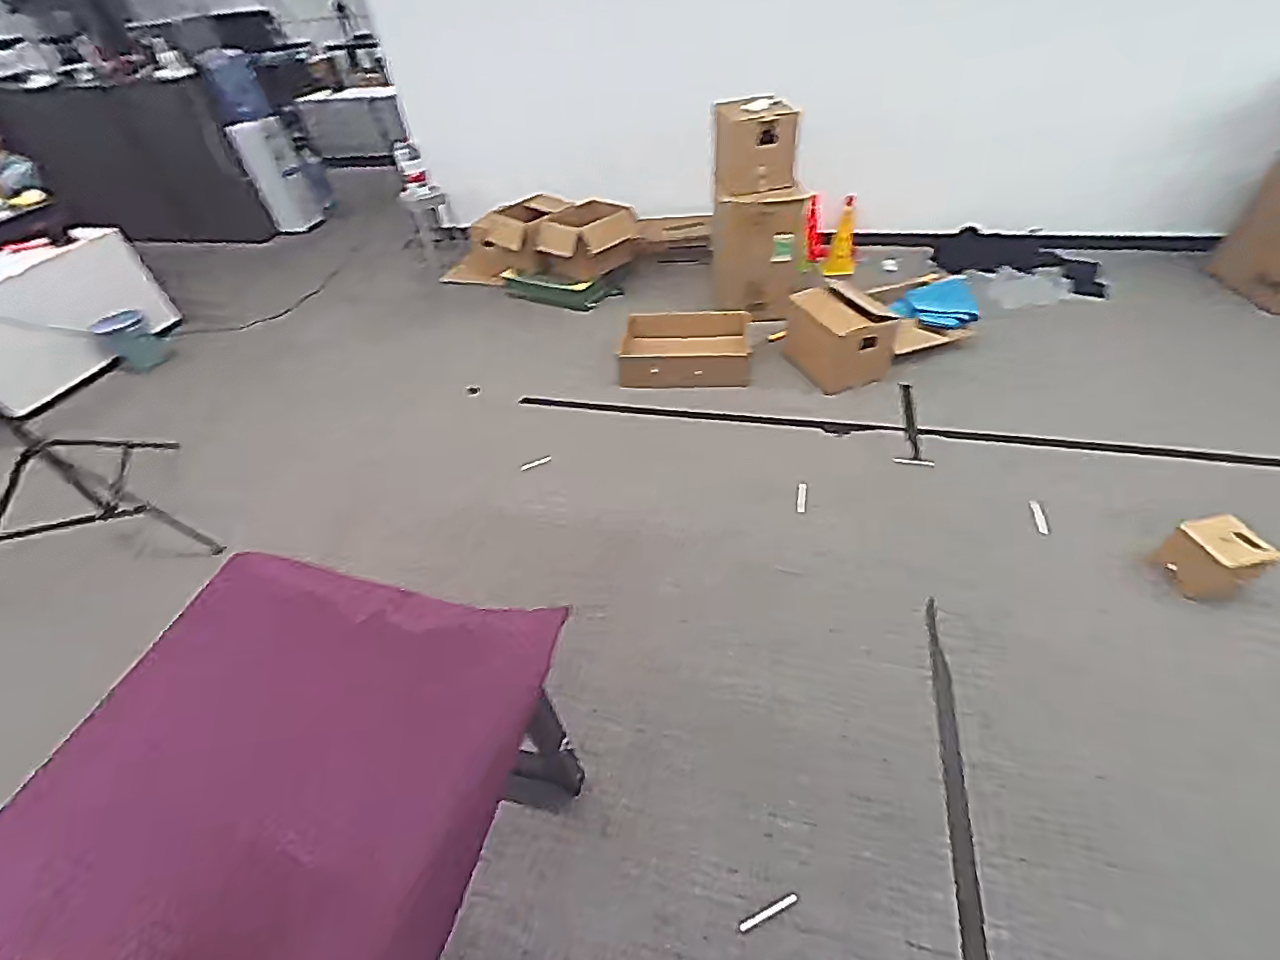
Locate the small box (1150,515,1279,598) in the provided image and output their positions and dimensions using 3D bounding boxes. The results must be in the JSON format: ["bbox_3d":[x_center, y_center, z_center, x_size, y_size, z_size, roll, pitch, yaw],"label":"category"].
[{"bbox_3d":[1.715,0.232,1.627,0.179,0.176,0.168,-10,44,-2],"label":"small box"}]
